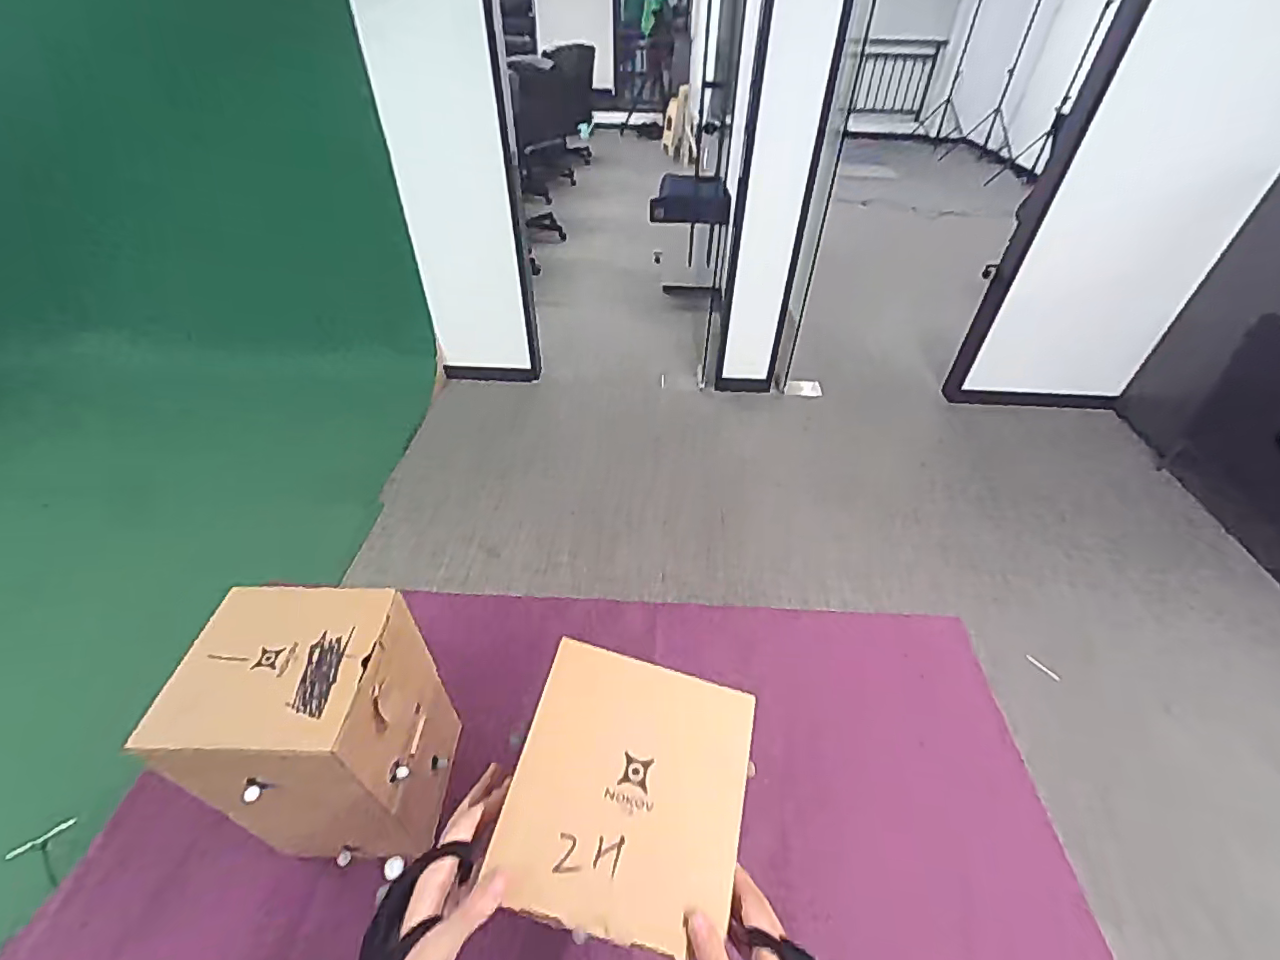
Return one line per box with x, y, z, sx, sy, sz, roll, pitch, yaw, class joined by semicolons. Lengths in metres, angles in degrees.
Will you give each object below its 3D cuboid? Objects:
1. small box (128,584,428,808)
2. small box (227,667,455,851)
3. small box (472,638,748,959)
-0.344;0.226;0.566;0.179;0.176;0.168;0;43;0;small box
-0.349;0.347;0.679;0.179;0.176;0.168;1;43;-1;small box
-0.023;0.264;0.459;0.168;0.176;0.179;17;57;2;small box
